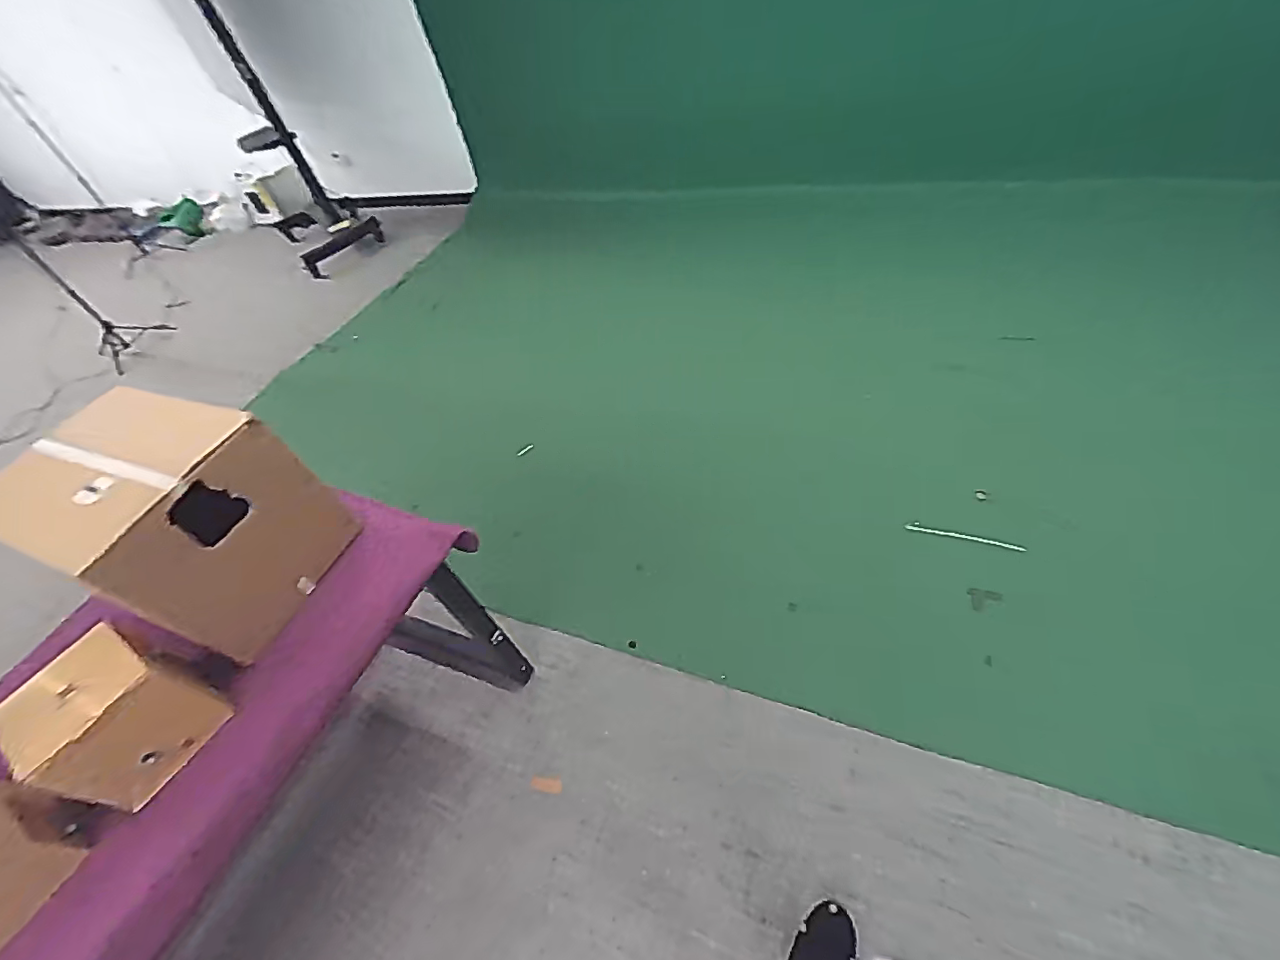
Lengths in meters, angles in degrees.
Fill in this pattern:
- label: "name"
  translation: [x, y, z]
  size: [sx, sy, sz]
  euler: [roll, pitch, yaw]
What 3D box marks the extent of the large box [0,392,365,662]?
- label: "large box"
  translation: [-0.812, 0.076, 0.973]
  size: [0.408, 0.320, 0.320]
  euler: [11, 54, 21]
